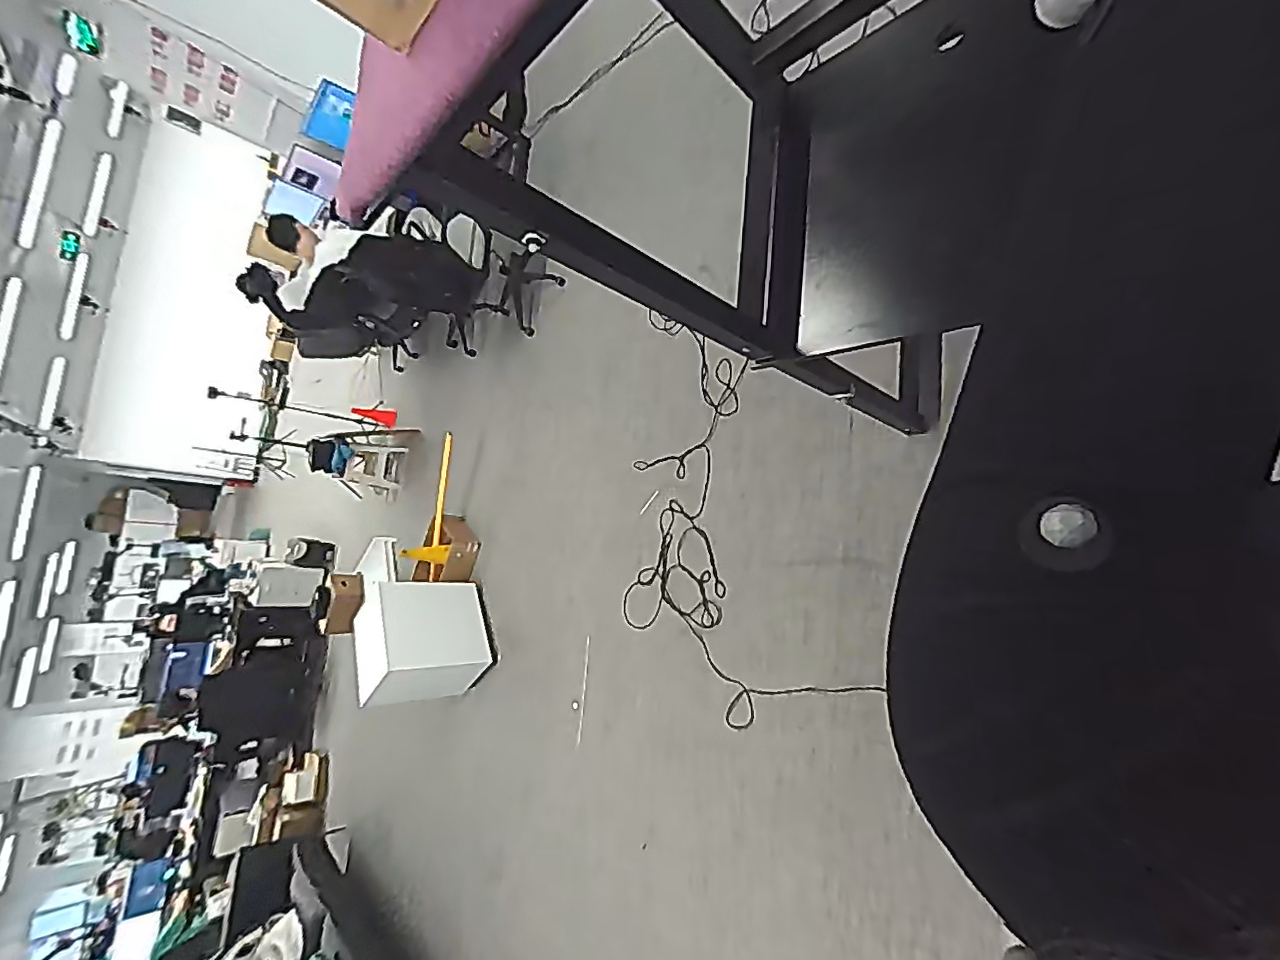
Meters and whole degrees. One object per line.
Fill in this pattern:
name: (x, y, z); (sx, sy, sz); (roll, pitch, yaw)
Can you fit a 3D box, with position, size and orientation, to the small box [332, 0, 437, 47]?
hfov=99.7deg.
small box: (-0.209, -0.474, 0.379); (0.168, 0.176, 0.179); (-7, 78, 48)
